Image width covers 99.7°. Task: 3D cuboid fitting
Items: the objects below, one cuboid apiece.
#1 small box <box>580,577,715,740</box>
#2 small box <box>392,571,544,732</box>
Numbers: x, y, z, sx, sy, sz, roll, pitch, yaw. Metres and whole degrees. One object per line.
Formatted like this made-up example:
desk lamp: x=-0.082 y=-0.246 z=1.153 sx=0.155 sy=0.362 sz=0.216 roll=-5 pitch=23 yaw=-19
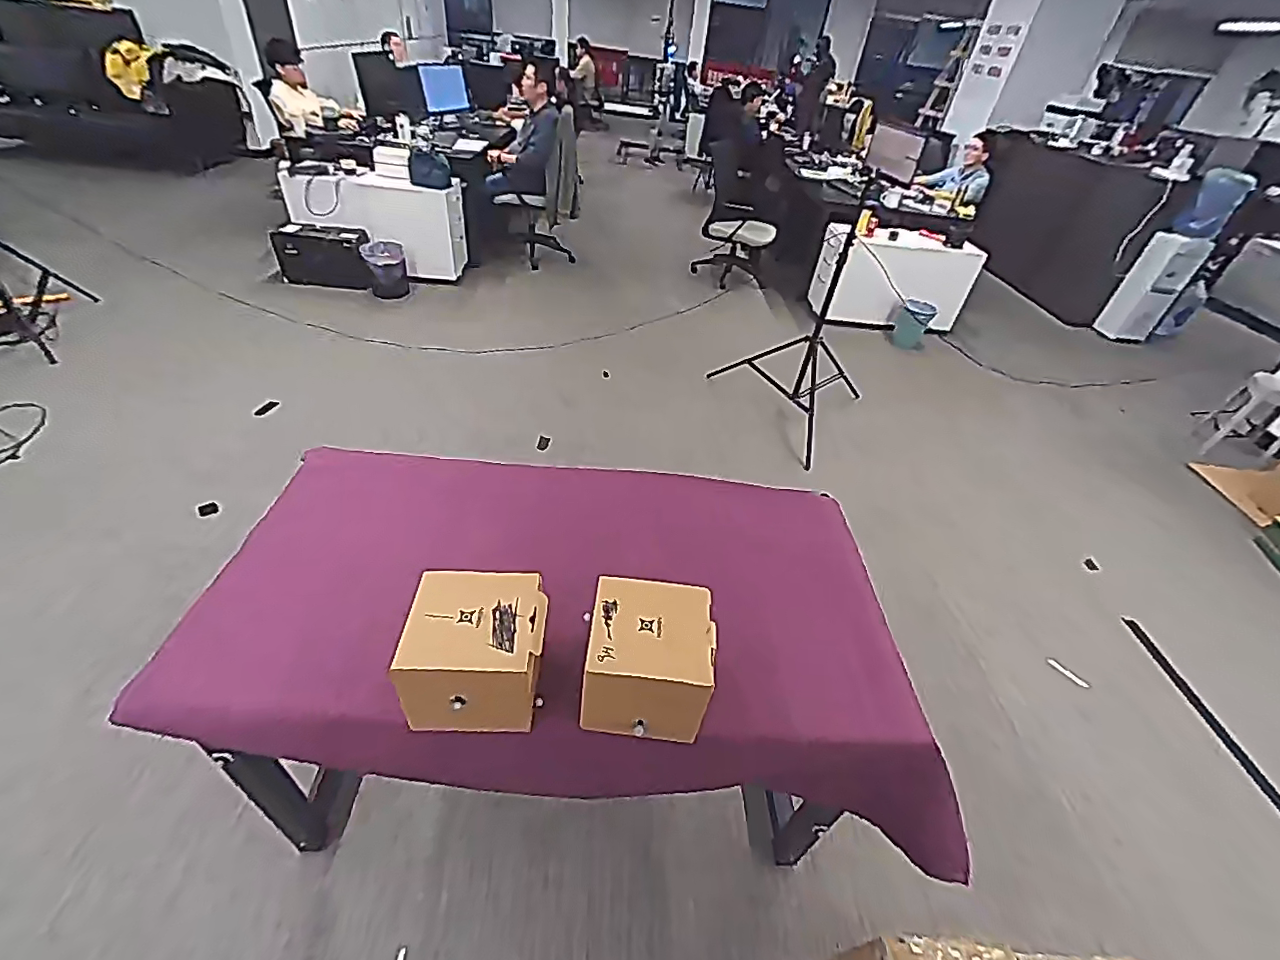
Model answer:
small box: x=0.010 y=0.275 z=0.828 sx=0.179 sy=0.176 sz=0.168 roll=8 pitch=39 yaw=-1
small box: x=-0.239 y=0.257 z=0.806 sx=0.179 sy=0.176 sz=0.168 roll=3 pitch=39 yaw=-4
